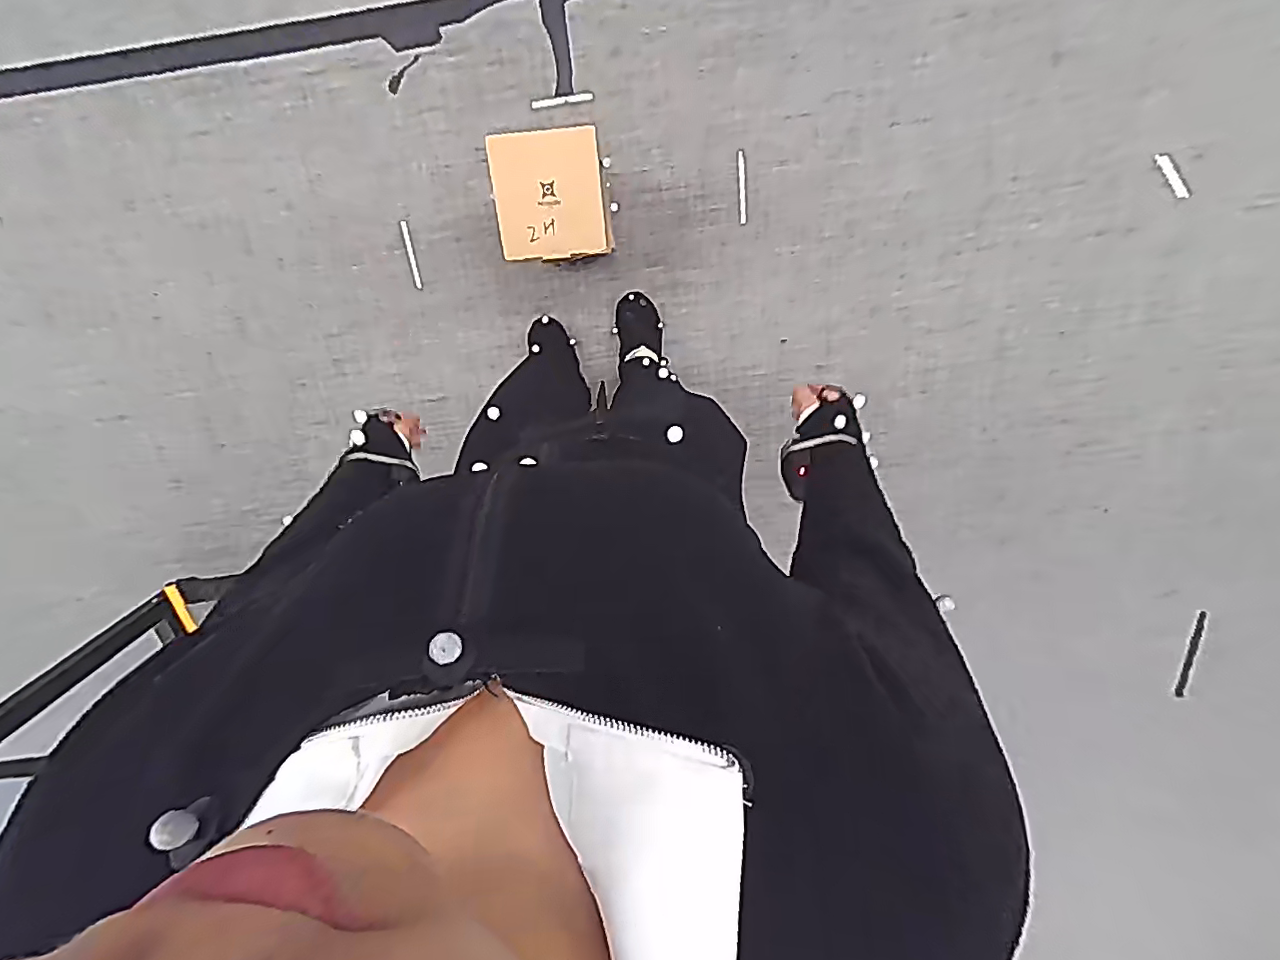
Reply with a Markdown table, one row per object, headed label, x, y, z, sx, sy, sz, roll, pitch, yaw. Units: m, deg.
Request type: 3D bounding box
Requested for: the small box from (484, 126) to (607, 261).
| label | x | y | z | sx | sy | sz | roll | pitch | yaw |
| --- | --- | --- | --- | --- | --- | --- | --- | --- | --- |
| small box | -0.144 | -0.460 | 0.893 | 0.168 | 0.176 | 0.179 | -4 | 113 | 1 |
